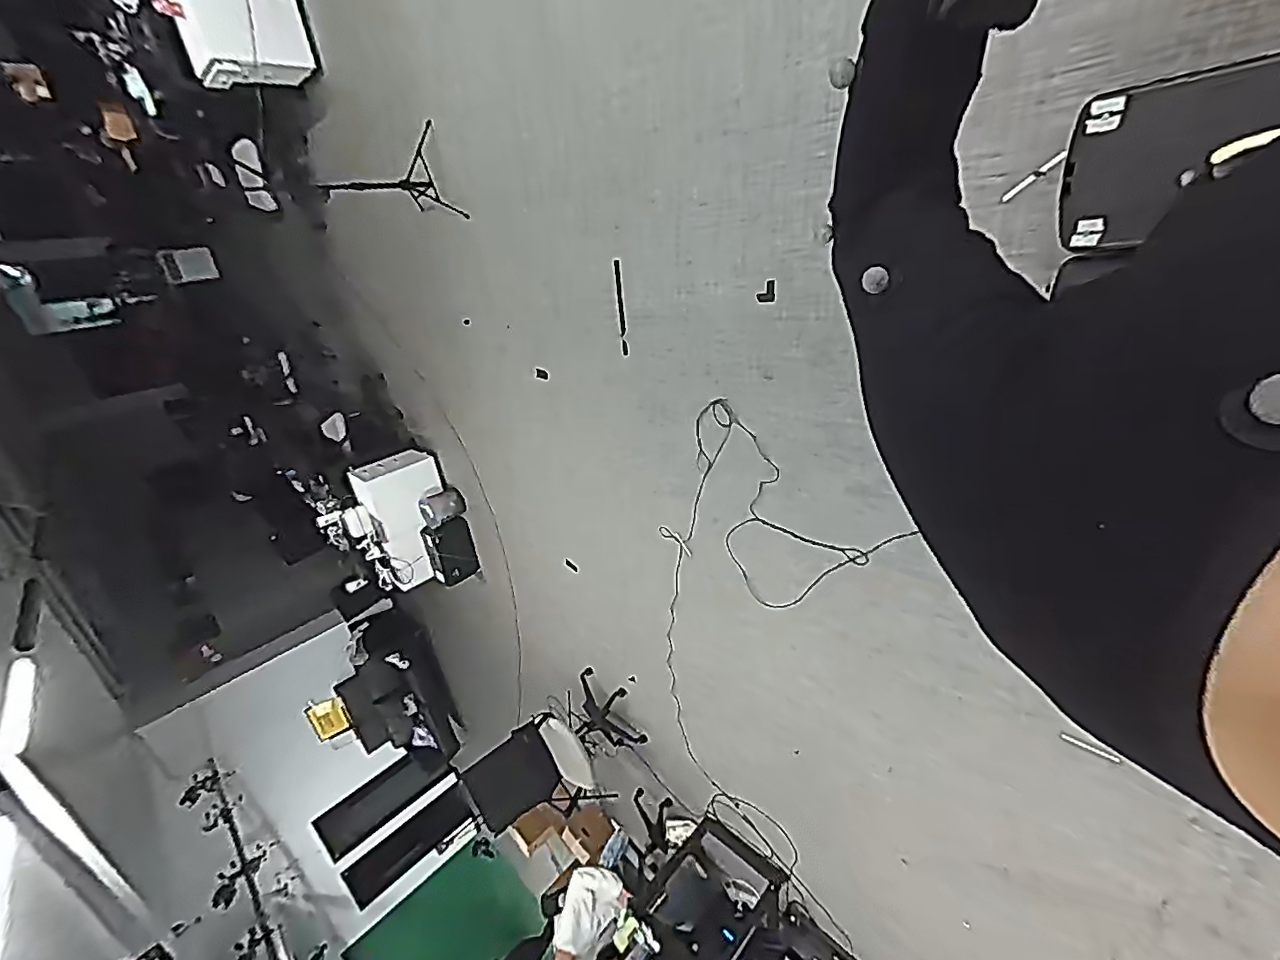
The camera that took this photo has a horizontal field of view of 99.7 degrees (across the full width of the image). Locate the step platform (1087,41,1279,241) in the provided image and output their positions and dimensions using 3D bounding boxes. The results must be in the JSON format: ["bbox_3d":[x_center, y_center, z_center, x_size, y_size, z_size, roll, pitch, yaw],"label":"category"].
[{"bbox_3d":[1.166,-0.578,0.874,0.684,0.204,0.286,14,122,43],"label":"step platform"}]
